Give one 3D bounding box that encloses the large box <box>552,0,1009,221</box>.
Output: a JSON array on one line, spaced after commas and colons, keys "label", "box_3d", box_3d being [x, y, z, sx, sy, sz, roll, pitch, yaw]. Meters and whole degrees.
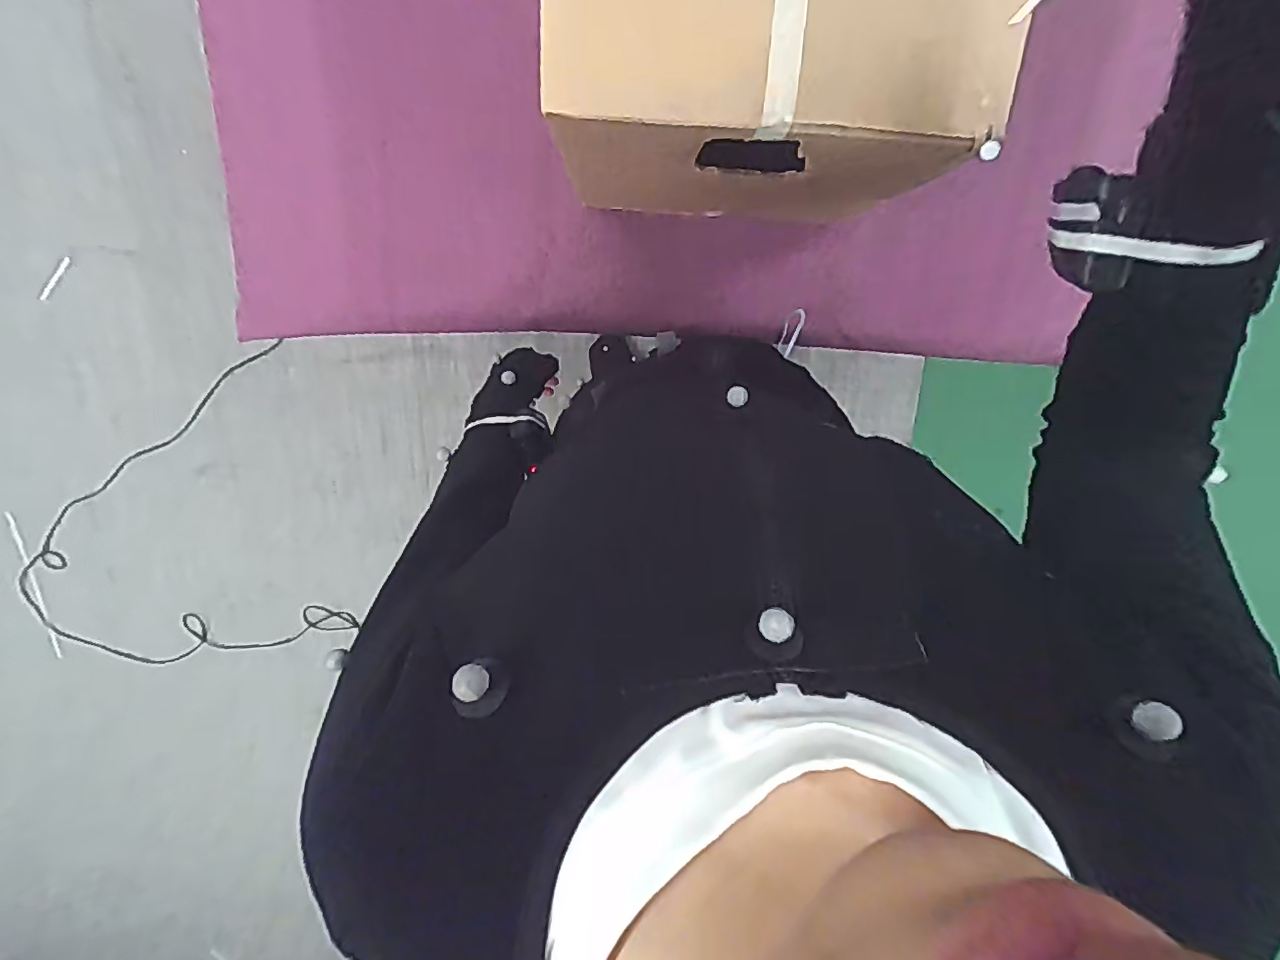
[{"label": "large box", "box_3d": [0.098, -0.475, 0.468, 0.320, 0.320, 0.408, 3, 107, -1]}]
